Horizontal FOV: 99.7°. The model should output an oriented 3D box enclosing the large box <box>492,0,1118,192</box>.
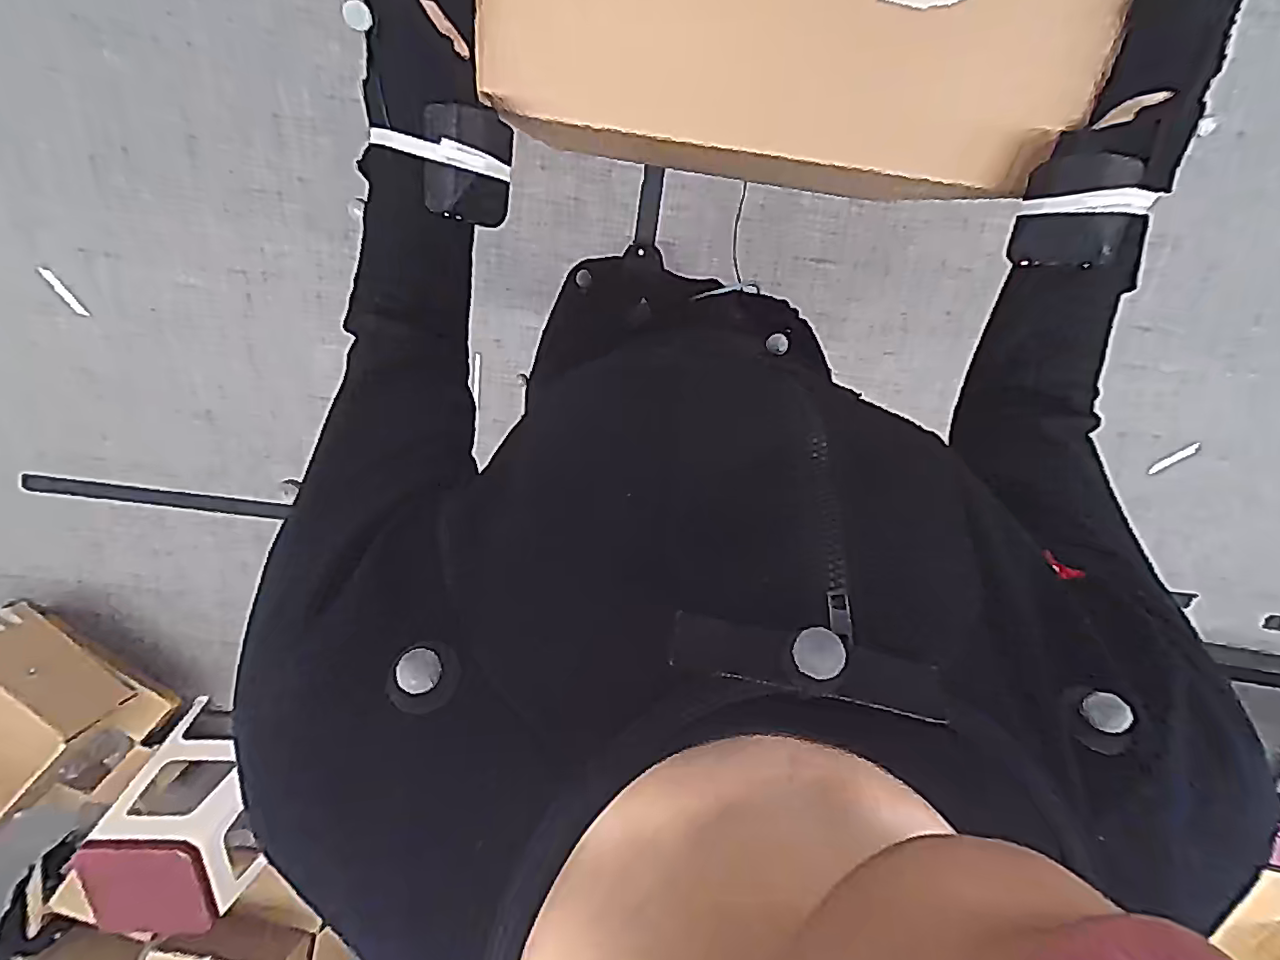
[{"bbox_3d":[0.109,-0.435,0.442,0.408,0.320,0.320,6,118,-5],"label":"large box"}]
